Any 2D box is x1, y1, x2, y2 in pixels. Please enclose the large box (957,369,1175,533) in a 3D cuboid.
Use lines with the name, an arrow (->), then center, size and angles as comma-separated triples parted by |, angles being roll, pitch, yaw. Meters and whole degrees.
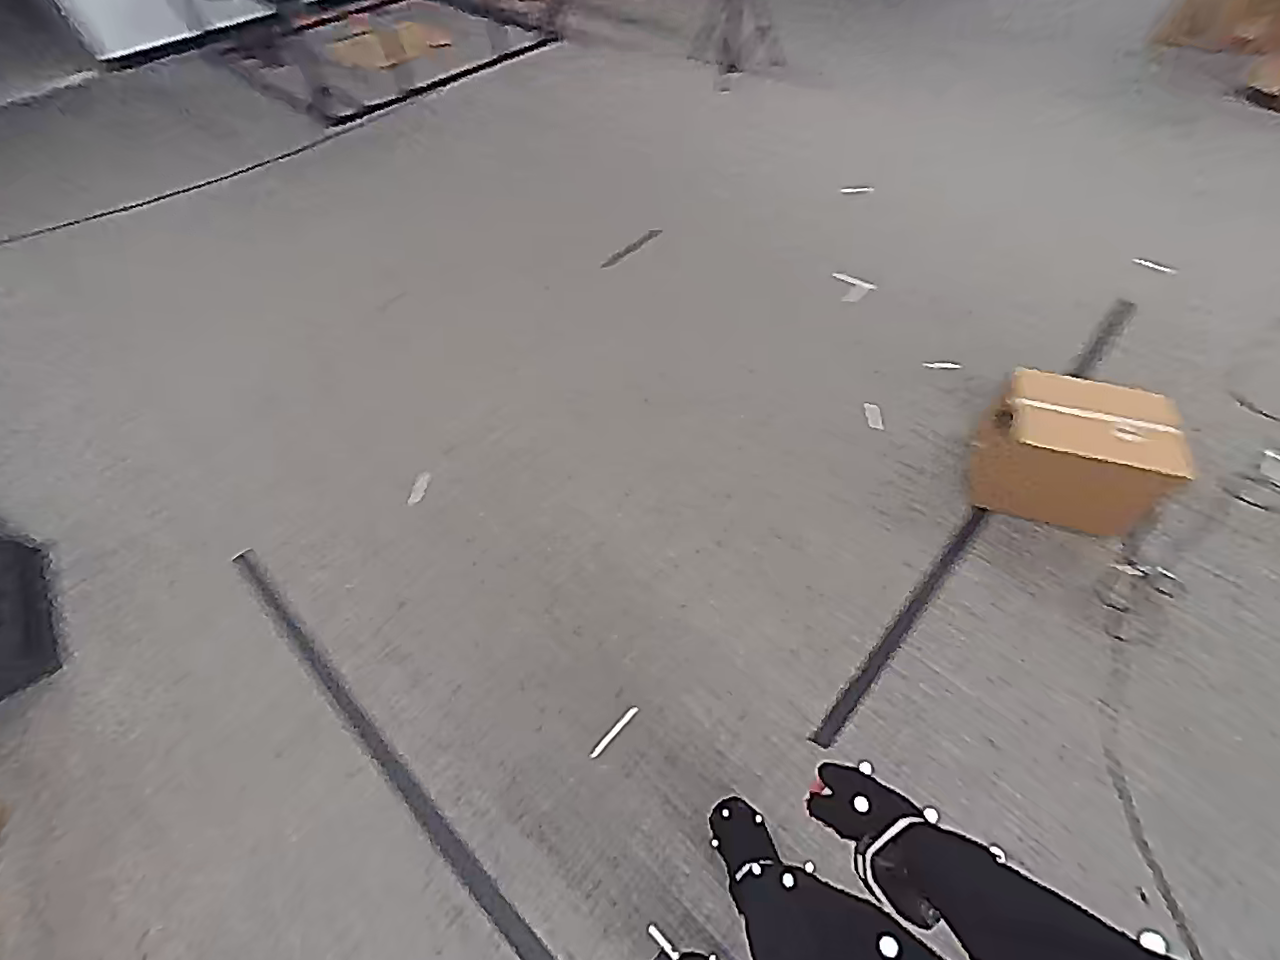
large box -> 1.232, -0.086, 1.624 | 0.408, 0.320, 0.320 | 15, 56, 12
